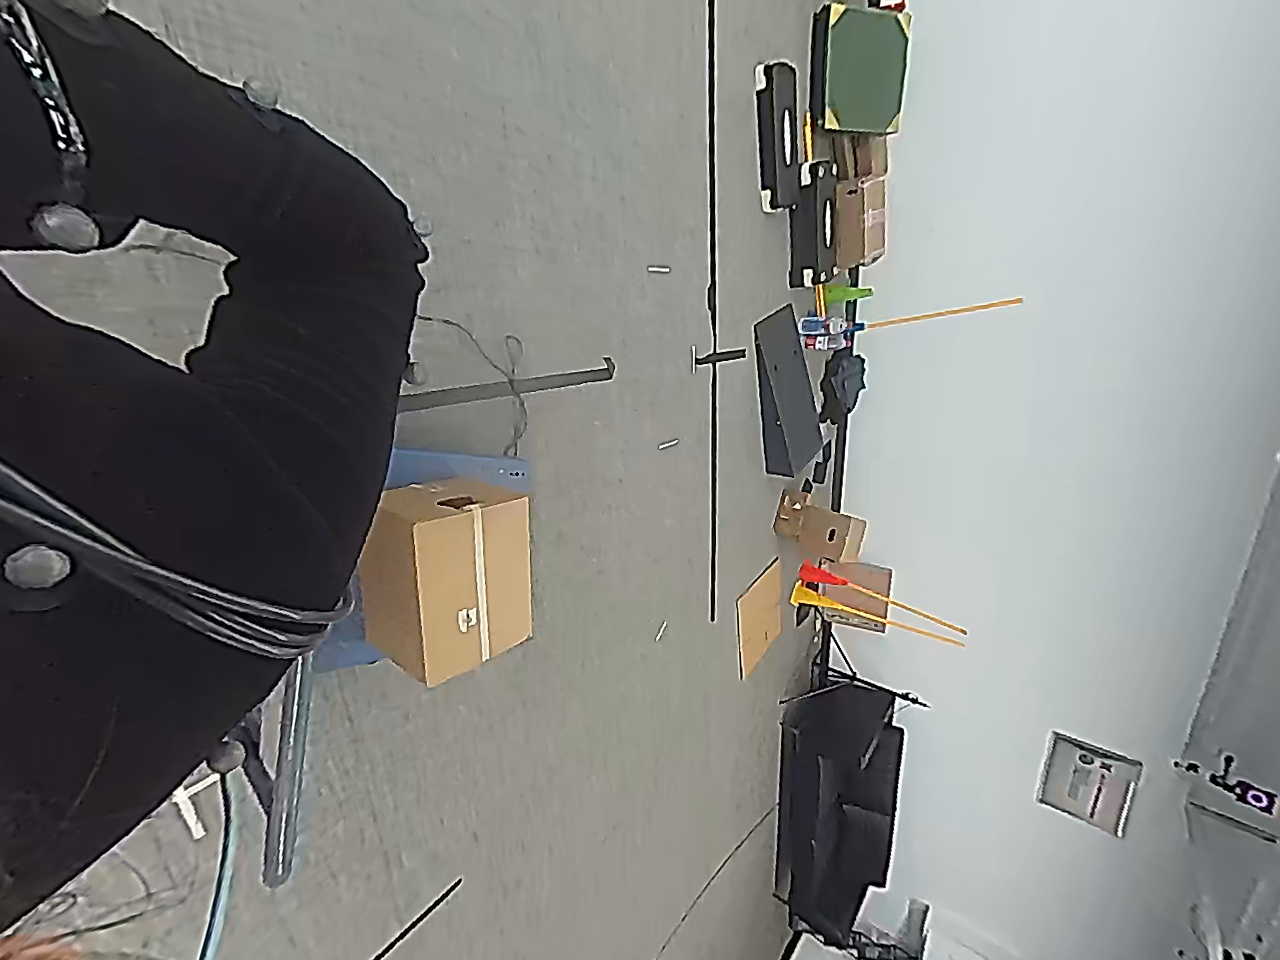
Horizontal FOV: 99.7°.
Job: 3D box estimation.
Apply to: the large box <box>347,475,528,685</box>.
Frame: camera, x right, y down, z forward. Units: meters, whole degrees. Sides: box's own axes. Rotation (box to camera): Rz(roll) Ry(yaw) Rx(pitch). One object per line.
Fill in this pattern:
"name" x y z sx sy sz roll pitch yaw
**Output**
"large box" -0.512 0.229 1.393 0.320 0.320 0.408 -15 112 -48
